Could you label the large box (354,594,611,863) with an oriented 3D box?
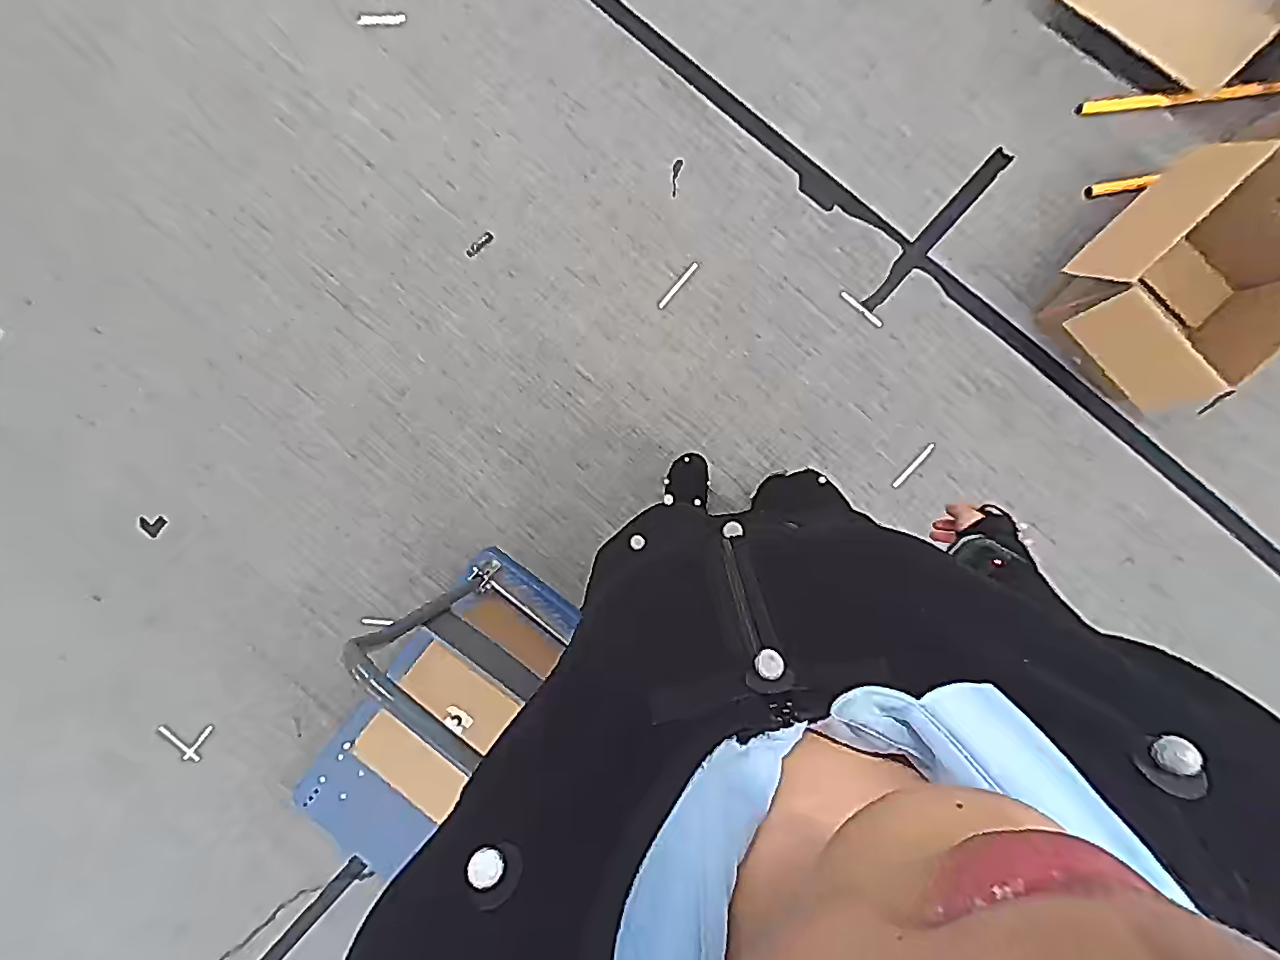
[{"bbox_3d":[-0.327,0.533,1.234,0.408,0.320,0.320,39,94,1],"label":"large box"}]
